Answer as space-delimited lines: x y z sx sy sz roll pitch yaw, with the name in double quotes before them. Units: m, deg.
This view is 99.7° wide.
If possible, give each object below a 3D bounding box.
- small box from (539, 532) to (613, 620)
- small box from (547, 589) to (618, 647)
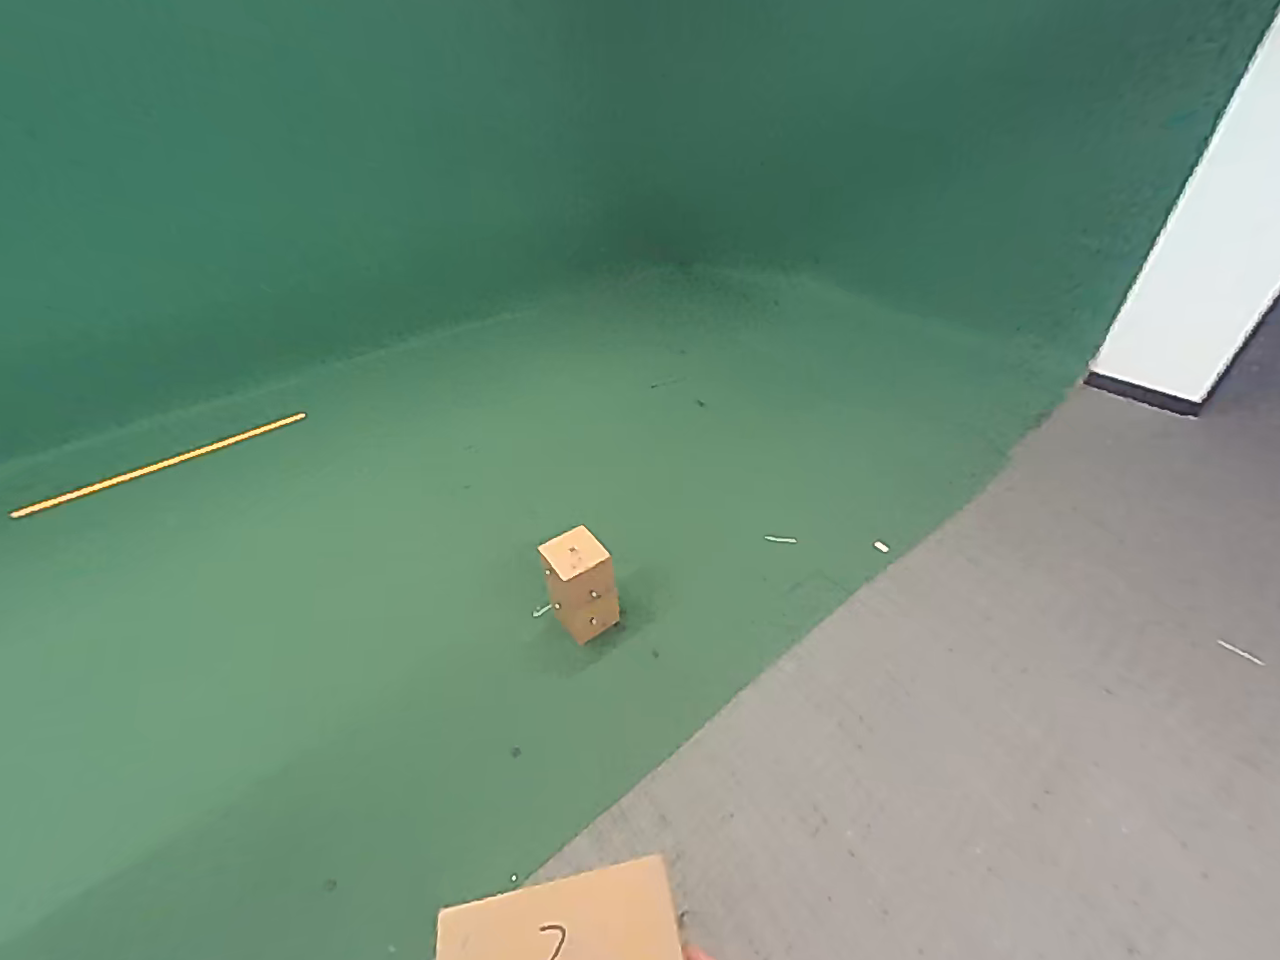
"small box" -0.199 0.302 1.699 0.168 0.176 0.179 -26 43 -24
"small box" -0.187 0.431 1.804 0.168 0.176 0.179 -28 44 -26
